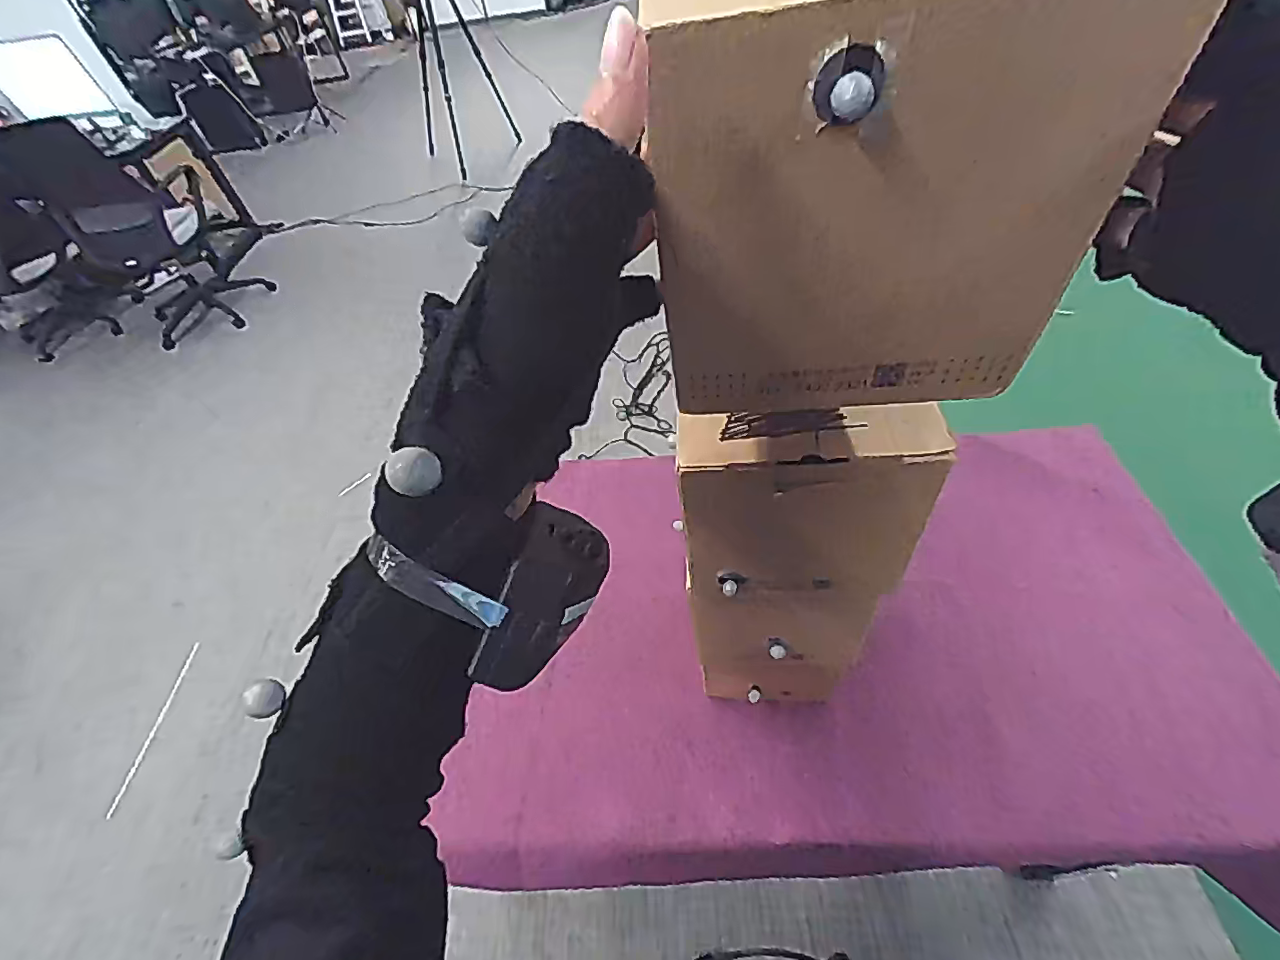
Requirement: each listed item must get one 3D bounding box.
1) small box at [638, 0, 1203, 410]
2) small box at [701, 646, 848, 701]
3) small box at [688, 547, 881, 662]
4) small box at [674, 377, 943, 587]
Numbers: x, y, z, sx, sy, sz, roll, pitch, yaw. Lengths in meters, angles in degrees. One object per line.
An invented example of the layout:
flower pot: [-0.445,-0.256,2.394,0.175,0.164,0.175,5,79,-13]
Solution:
small box: [0.095,-0.156,0.272,0.168,0.176,0.179,-2,52,9]
small box: [0.164,0.169,0.709,0.168,0.176,0.179,-2,50,9]
small box: [0.138,0.076,0.576,0.168,0.176,0.179,-3,49,8]
small box: [0.120,-0.024,0.447,0.168,0.176,0.179,-2,49,8]
